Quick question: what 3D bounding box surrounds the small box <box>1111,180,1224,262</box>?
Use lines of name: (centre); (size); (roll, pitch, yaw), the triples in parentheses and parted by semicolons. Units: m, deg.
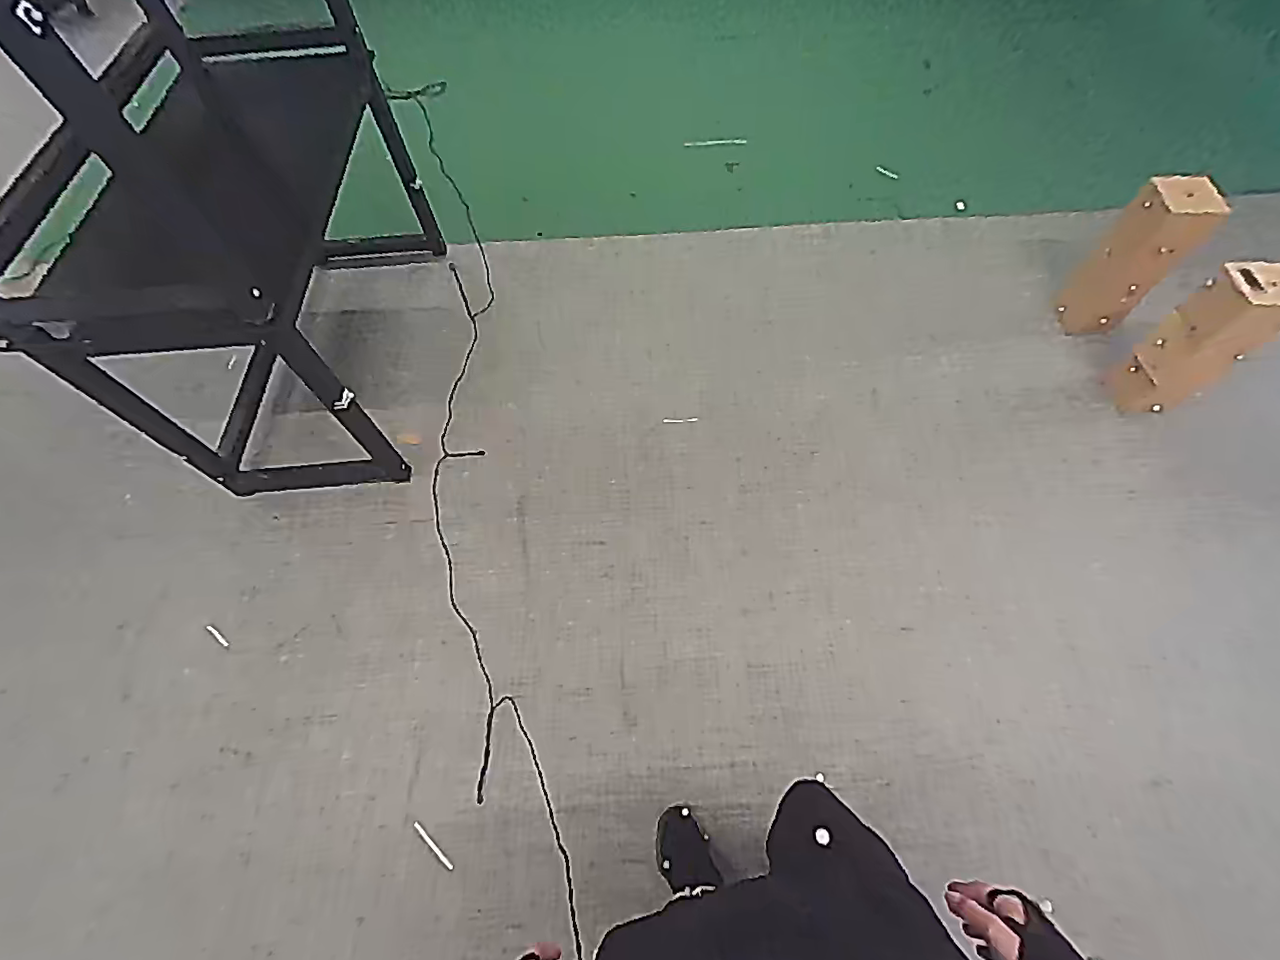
small box: (1.661, -0.822, 1.719); (0.168, 0.176, 0.179); (2, 61, 4)

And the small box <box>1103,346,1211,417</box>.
small box: (1.720, -0.332, 1.815); (0.168, 0.176, 0.179); (-2, 61, 1)

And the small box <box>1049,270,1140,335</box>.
small box: (1.672, -0.653, 2.000); (0.168, 0.176, 0.179); (0, 61, 2)

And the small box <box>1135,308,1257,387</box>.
small box: (1.699, -0.405, 1.672); (0.179, 0.176, 0.168); (-5, 61, -1)
